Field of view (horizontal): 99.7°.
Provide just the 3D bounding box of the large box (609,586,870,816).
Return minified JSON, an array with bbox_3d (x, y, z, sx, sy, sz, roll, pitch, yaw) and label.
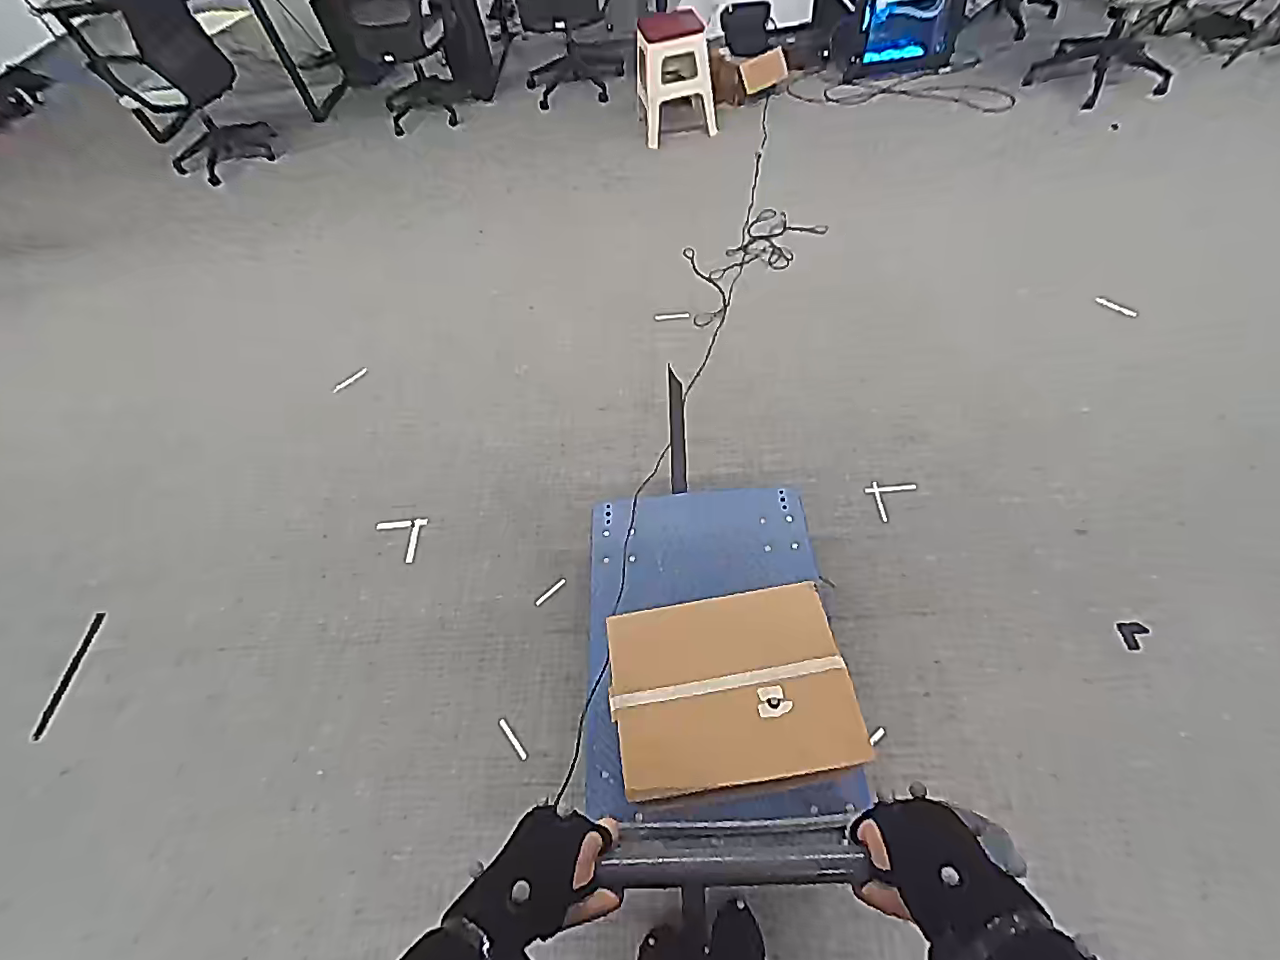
[{"bbox_3d":[0.171,0.449,1.078,0.408,0.320,0.320,-10,56,-1],"label":"large box"}]
